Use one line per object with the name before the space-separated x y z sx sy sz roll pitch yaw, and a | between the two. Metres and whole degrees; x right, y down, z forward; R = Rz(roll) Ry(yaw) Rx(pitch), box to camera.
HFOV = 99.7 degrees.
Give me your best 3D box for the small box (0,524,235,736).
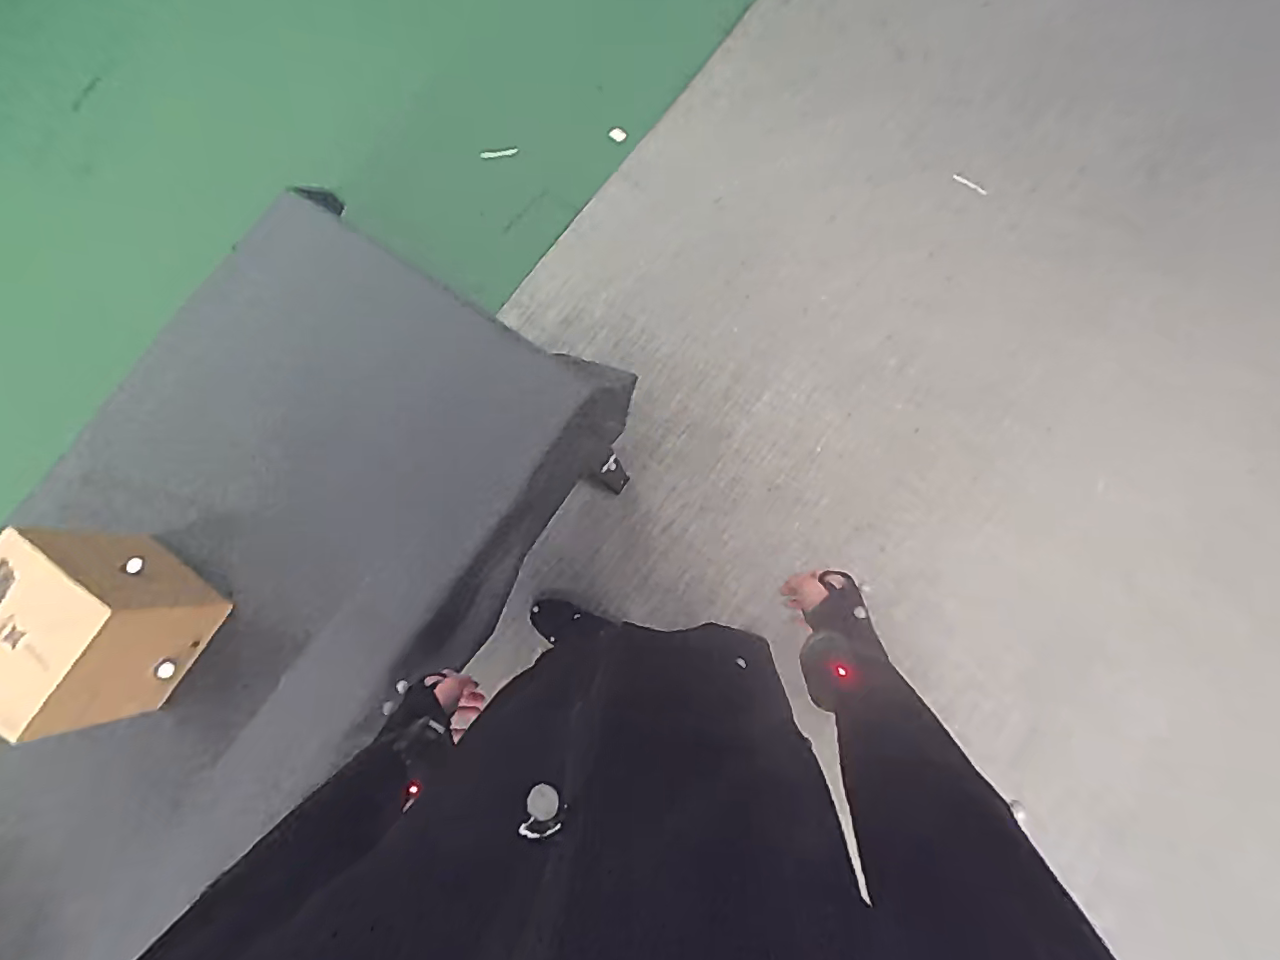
small box | -0.672 0.176 0.670 0.179 0.176 0.168 32 84 8
